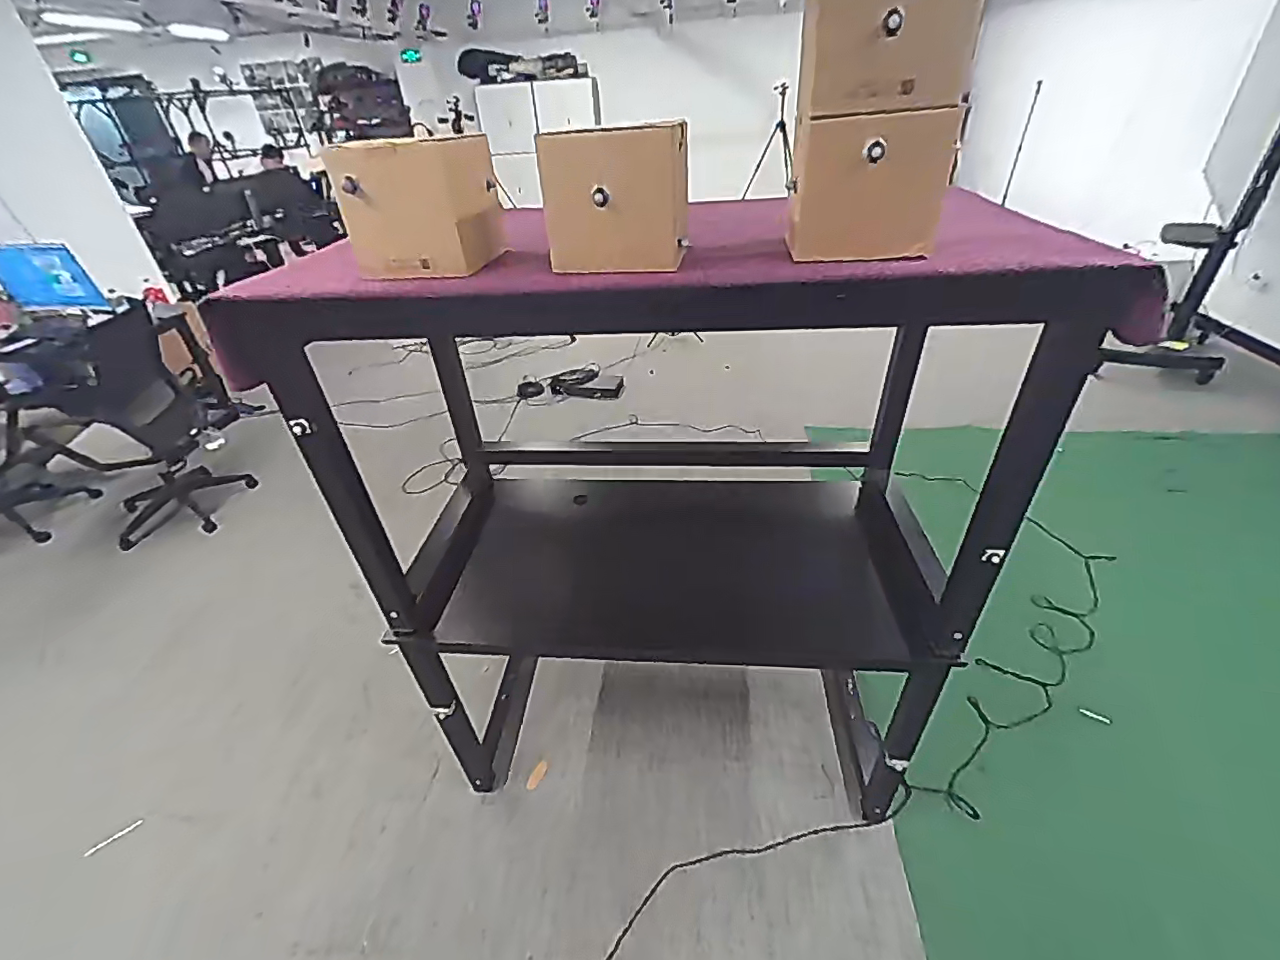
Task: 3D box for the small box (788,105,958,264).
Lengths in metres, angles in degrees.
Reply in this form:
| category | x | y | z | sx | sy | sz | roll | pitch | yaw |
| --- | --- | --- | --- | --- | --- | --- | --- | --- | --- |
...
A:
| category | x | y | z | sx | sy | sz | roll | pitch | yaw |
| --- | --- | --- | --- | --- | --- | --- | --- | --- | --- |
| small box | 0.296 | -0.400 | 0.735 | 0.179 | 0.176 | 0.168 | 2 | 36 | 10 |

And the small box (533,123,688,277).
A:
| category | x | y | z | sx | sy | sz | roll | pitch | yaw |
| --- | --- | --- | --- | --- | --- | --- | --- | --- | --- |
| small box | -0.027 | -0.394 | 0.764 | 0.179 | 0.176 | 0.168 | 2 | 35 | 12 |

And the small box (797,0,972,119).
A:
| category | x | y | z | sx | sy | sz | roll | pitch | yaw |
| --- | --- | --- | --- | --- | --- | --- | --- | --- | --- |
| small box | 0.283 | -0.538 | 0.647 | 0.168 | 0.176 | 0.179 | 1 | 36 | 10 |
